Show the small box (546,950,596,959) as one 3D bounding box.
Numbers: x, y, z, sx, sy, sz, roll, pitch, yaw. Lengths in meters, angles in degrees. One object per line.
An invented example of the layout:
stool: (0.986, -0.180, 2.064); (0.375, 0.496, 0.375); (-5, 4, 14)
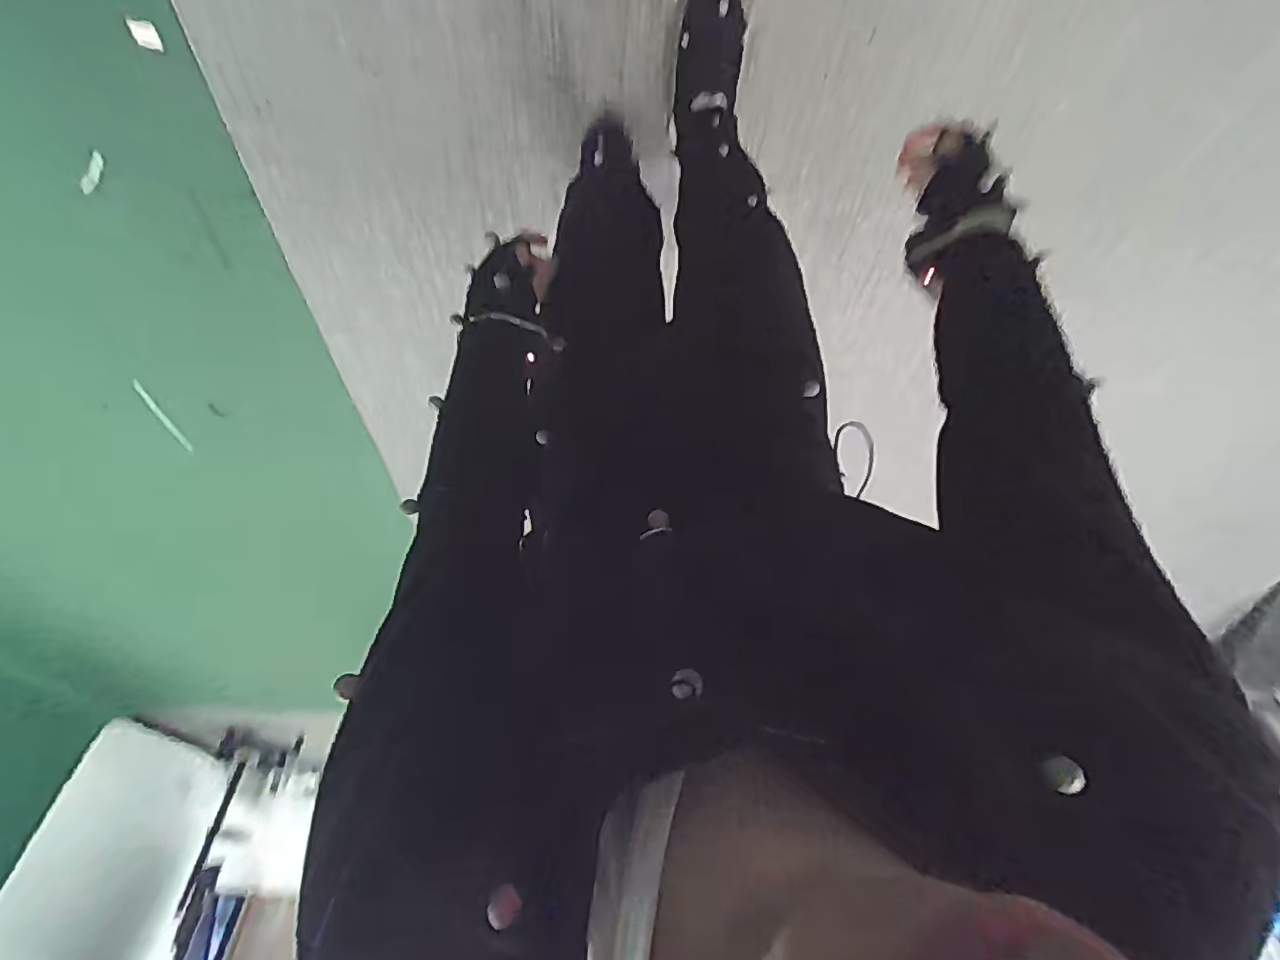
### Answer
small box: (-0.259, 1.828, 1.968); (0.168, 0.176, 0.179); (10, 139, -11)
